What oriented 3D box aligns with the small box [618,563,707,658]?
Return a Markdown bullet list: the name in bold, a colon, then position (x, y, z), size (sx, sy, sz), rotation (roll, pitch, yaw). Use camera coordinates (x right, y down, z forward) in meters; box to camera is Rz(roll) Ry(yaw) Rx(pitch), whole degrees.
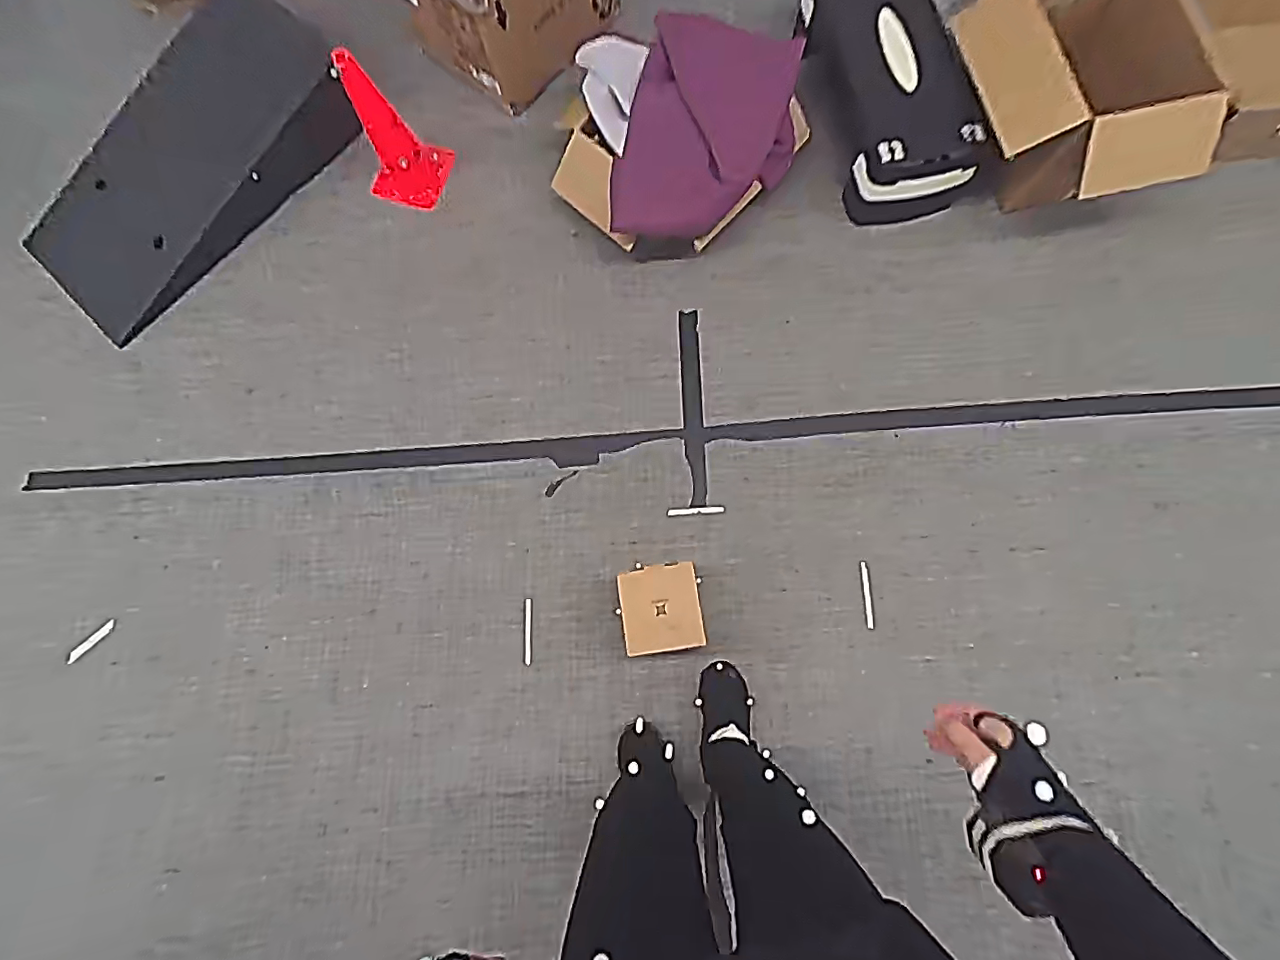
- **small box**: position (0.049, 0.285, 1.197), size (0.168, 0.176, 0.179), rotation (-10, 80, 2)
